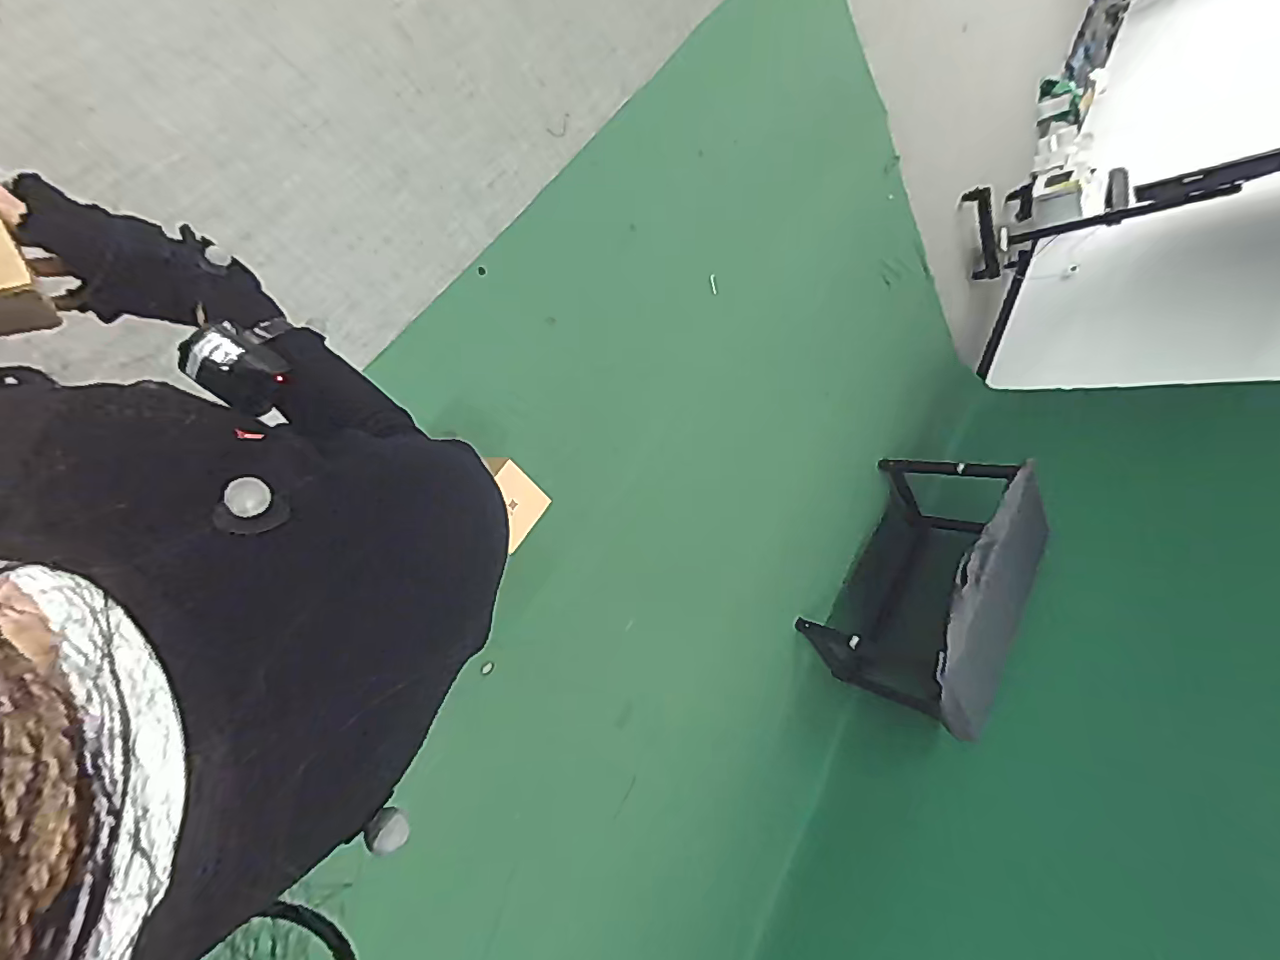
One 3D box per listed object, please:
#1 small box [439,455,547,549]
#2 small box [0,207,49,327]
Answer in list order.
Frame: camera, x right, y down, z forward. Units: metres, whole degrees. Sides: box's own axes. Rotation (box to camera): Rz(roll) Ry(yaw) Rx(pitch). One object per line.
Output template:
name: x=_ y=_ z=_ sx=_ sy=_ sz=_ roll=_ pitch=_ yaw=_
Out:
small box: x=-0.379 y=0.048 z=1.382 sx=0.168 sy=0.176 sz=0.179 roll=50 pitch=62 yaw=-32
small box: x=-0.485 y=-0.170 z=0.299 sx=0.168 sy=0.176 sz=0.179 roll=-30 pitch=114 yaw=-39
